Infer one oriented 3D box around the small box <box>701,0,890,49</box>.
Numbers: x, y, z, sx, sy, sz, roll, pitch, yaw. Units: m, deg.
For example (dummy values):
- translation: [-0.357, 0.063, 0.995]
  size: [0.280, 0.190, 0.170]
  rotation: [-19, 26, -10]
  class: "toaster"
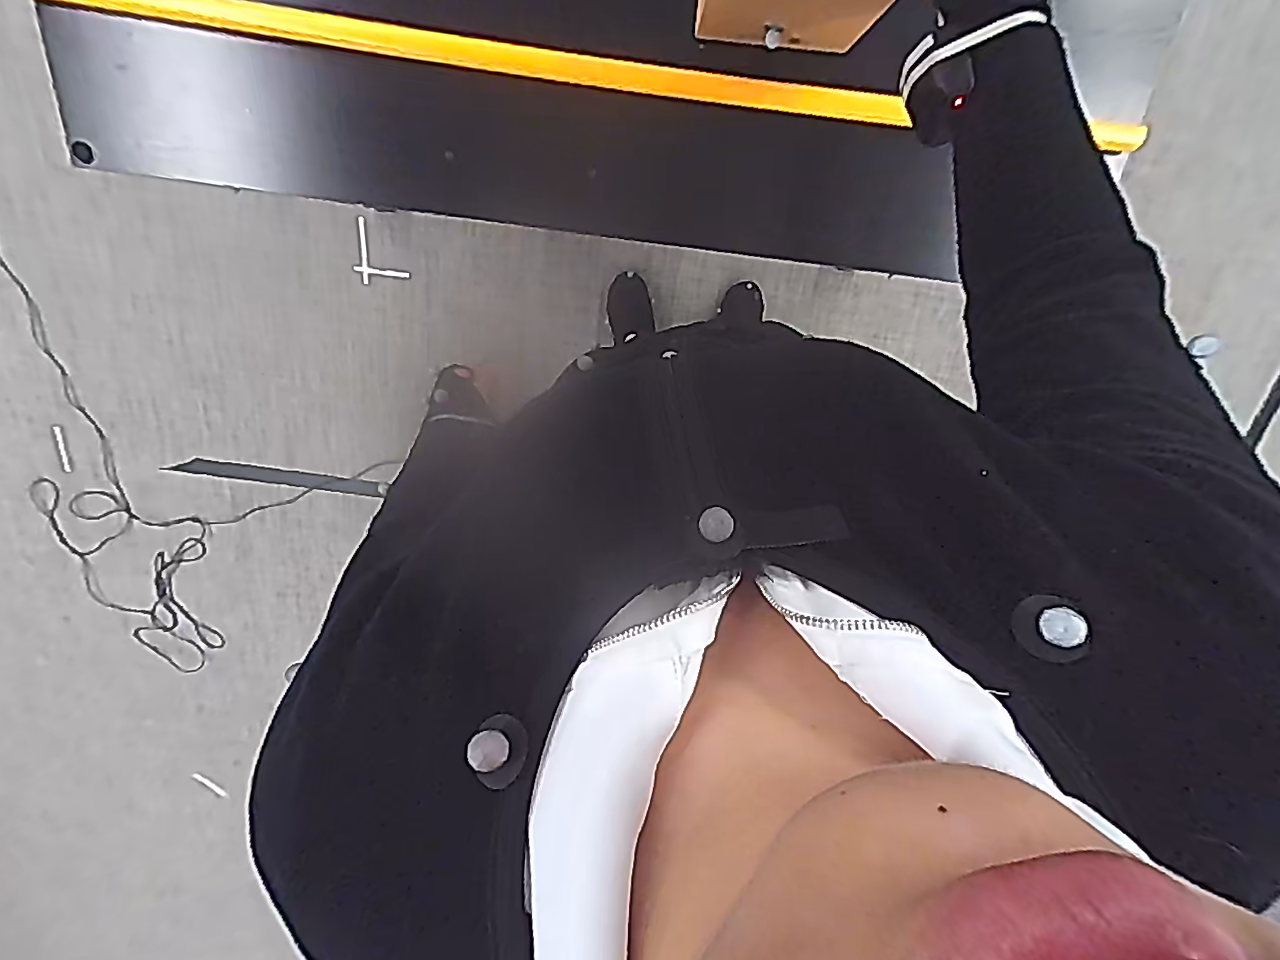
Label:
- translation: [0.150, -0.526, 0.479]
  size: [0.168, 0.176, 0.179]
  rotation: [5, 112, -1]
  class: "small box"
